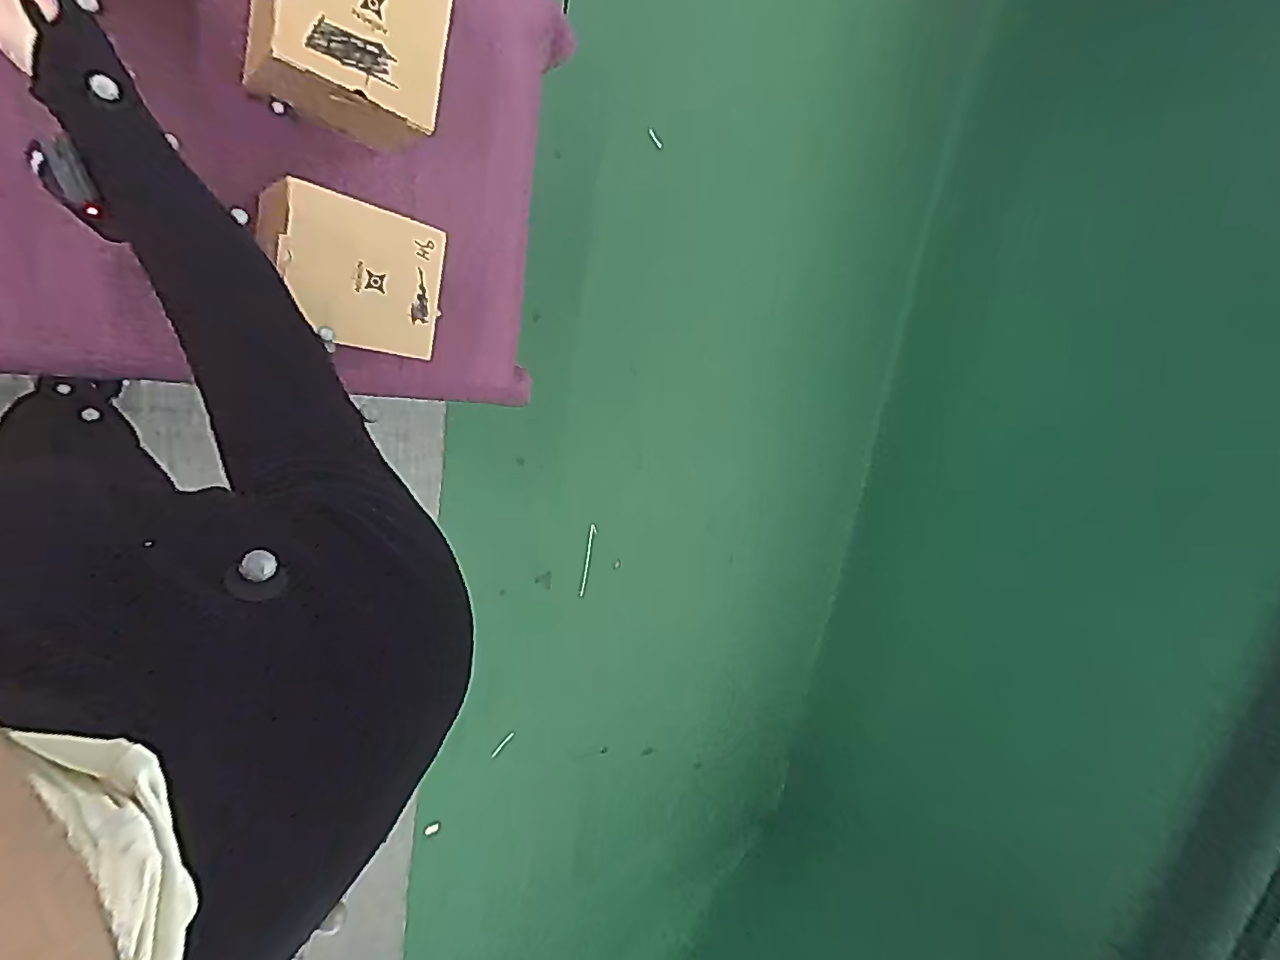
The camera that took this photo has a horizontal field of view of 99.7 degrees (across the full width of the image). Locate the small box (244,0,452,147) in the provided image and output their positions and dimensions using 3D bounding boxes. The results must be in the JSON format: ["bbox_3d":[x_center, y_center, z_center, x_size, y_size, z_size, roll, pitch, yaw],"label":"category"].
[{"bbox_3d":[-0.341,-0.520,0.627,0.168,0.176,0.179,4,102,-46],"label":"small box"}]

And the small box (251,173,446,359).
[{"bbox_3d":[-0.377,-0.258,0.691,0.179,0.176,0.168,3,102,-45],"label":"small box"}]
